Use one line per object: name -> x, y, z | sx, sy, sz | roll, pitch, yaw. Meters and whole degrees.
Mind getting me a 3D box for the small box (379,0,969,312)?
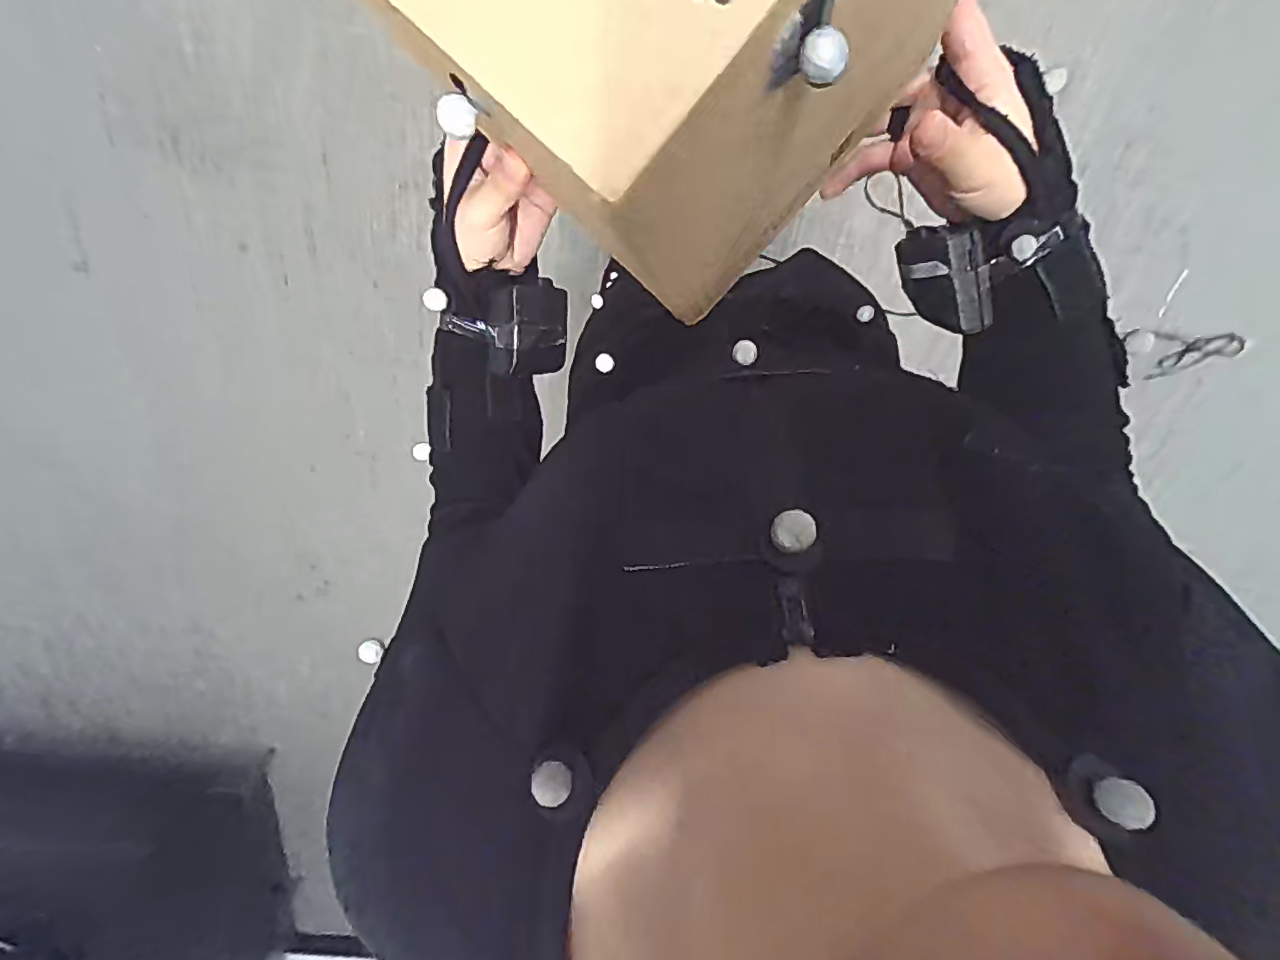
small box -> 0.012, -0.192, 0.212 | 0.179, 0.176, 0.168 | 44, 103, 5
